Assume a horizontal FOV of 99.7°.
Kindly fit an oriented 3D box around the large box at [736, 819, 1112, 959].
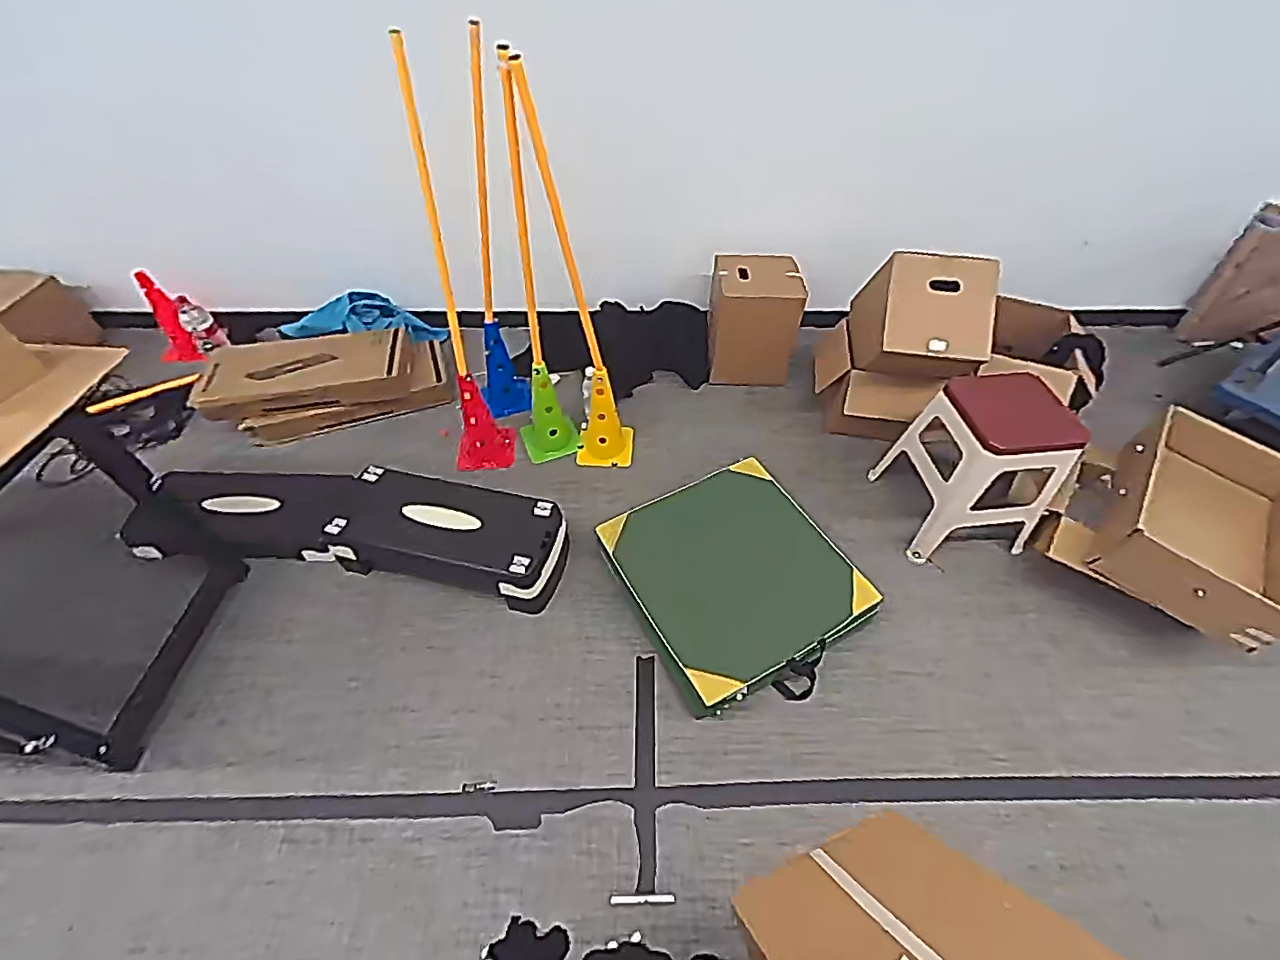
[{"bbox_3d":[0.376,0.720,0.670,0.320,0.408,0.320,-18,85,-15],"label":"large box"}]
